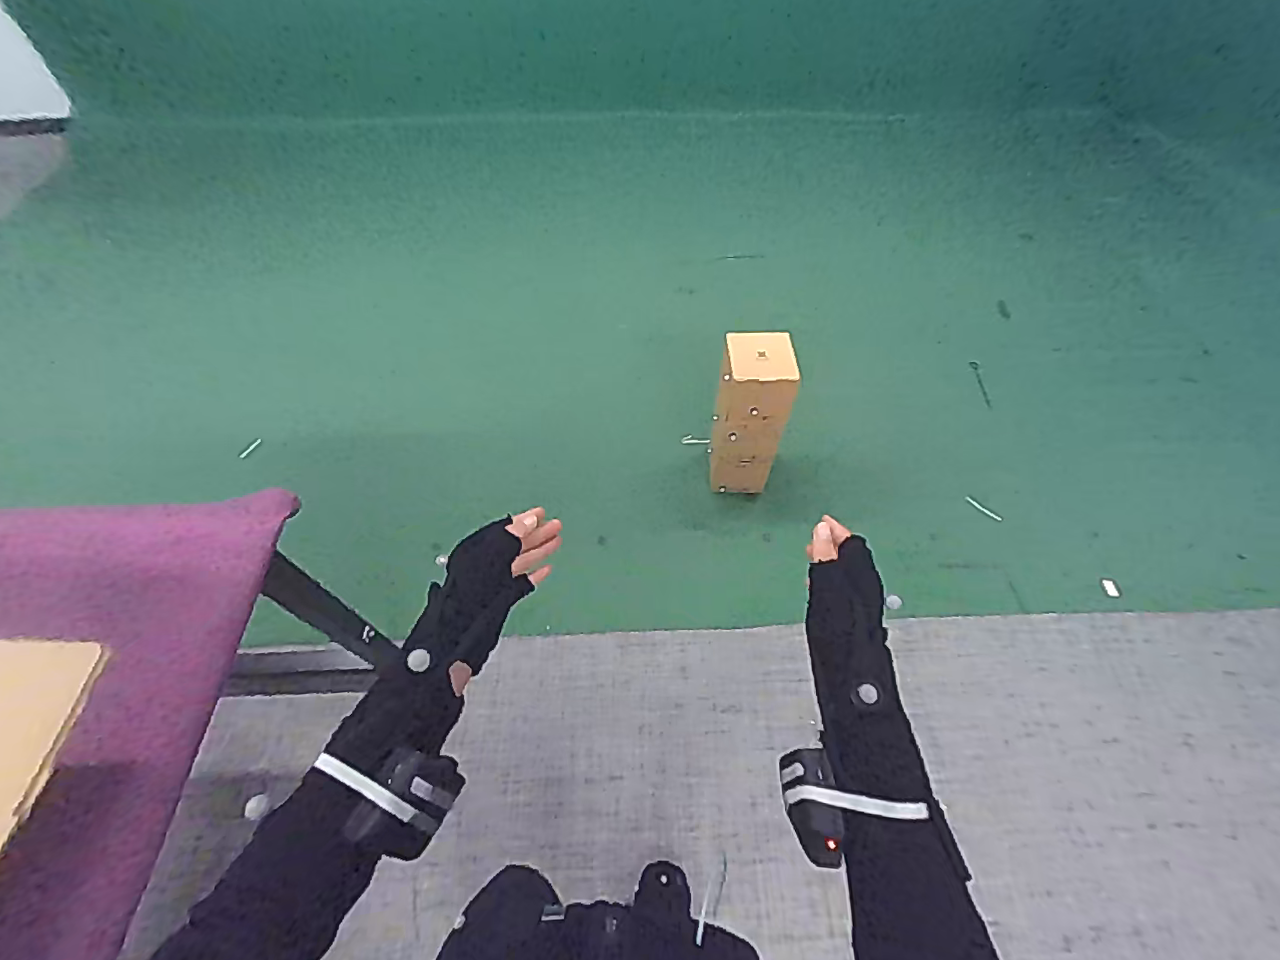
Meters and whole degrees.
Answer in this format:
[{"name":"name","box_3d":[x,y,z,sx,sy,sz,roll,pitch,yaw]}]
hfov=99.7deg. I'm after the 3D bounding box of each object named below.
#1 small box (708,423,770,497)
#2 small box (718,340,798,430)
[{"name":"small box","box_3d":[0.308,-0.060,1.709,0.168,0.176,0.179,1,54,0]},{"name":"small box","box_3d":[0.307,-0.253,1.444,0.168,0.176,0.179,-1,55,-1]}]
